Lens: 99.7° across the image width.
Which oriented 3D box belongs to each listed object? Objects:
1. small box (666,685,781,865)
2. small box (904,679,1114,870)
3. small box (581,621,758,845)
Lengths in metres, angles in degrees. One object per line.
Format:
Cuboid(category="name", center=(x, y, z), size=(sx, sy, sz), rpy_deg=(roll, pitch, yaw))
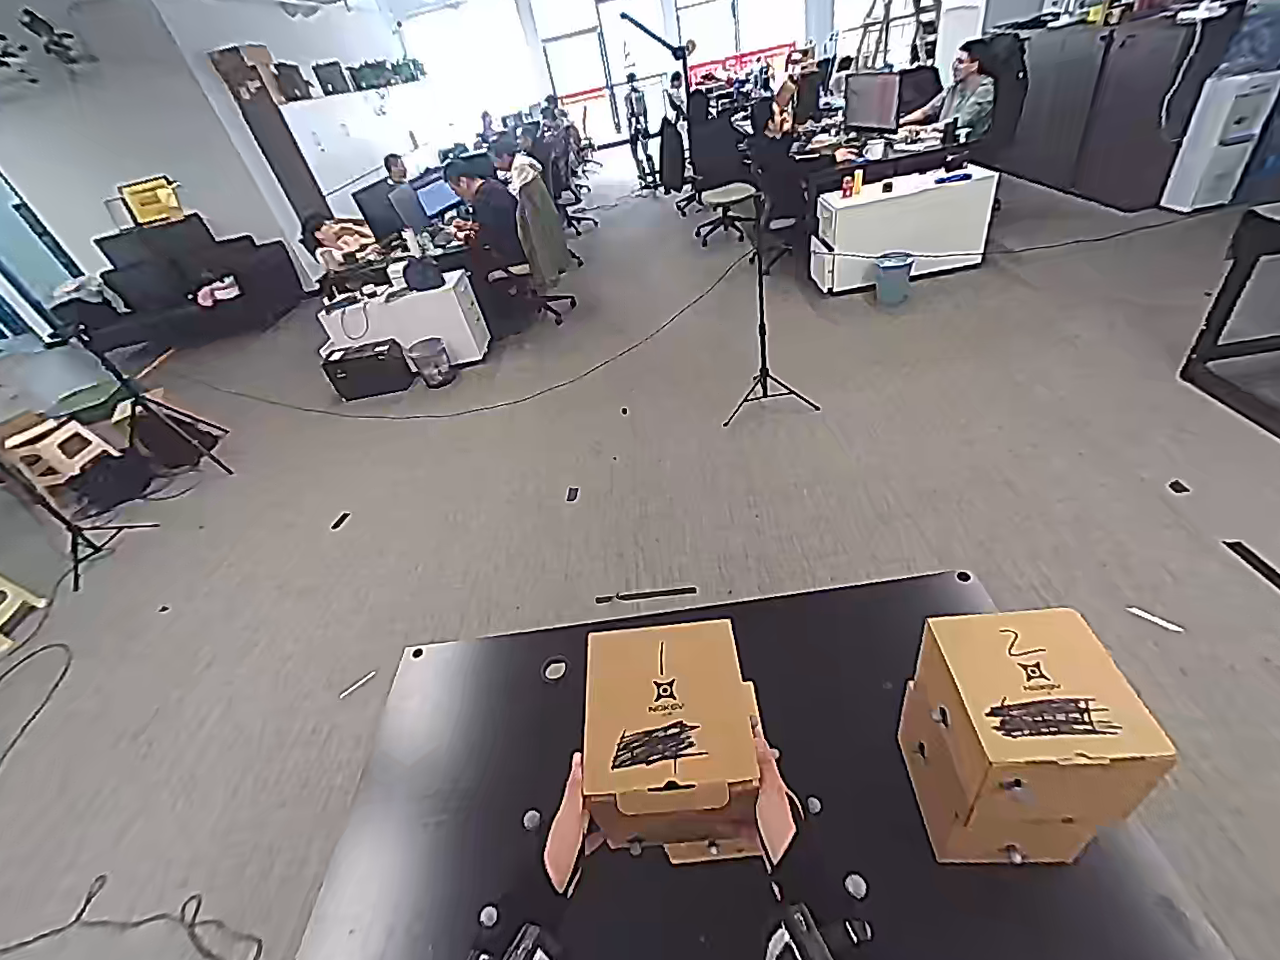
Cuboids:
Cuboid(category="small box", center=(0.108, 0.433, 0.797), size=(0.168, 0.176, 0.179), rpy_deg=(-10, 38, 5))
Cuboid(category="small box", center=(0.472, 0.395, 0.729), size=(0.168, 0.176, 0.179), rpy_deg=(-7, 38, 10))
Cuboid(category="small box", center=(0.035, 0.283, 0.598), size=(0.168, 0.176, 0.179), rpy_deg=(-6, 42, 3))
